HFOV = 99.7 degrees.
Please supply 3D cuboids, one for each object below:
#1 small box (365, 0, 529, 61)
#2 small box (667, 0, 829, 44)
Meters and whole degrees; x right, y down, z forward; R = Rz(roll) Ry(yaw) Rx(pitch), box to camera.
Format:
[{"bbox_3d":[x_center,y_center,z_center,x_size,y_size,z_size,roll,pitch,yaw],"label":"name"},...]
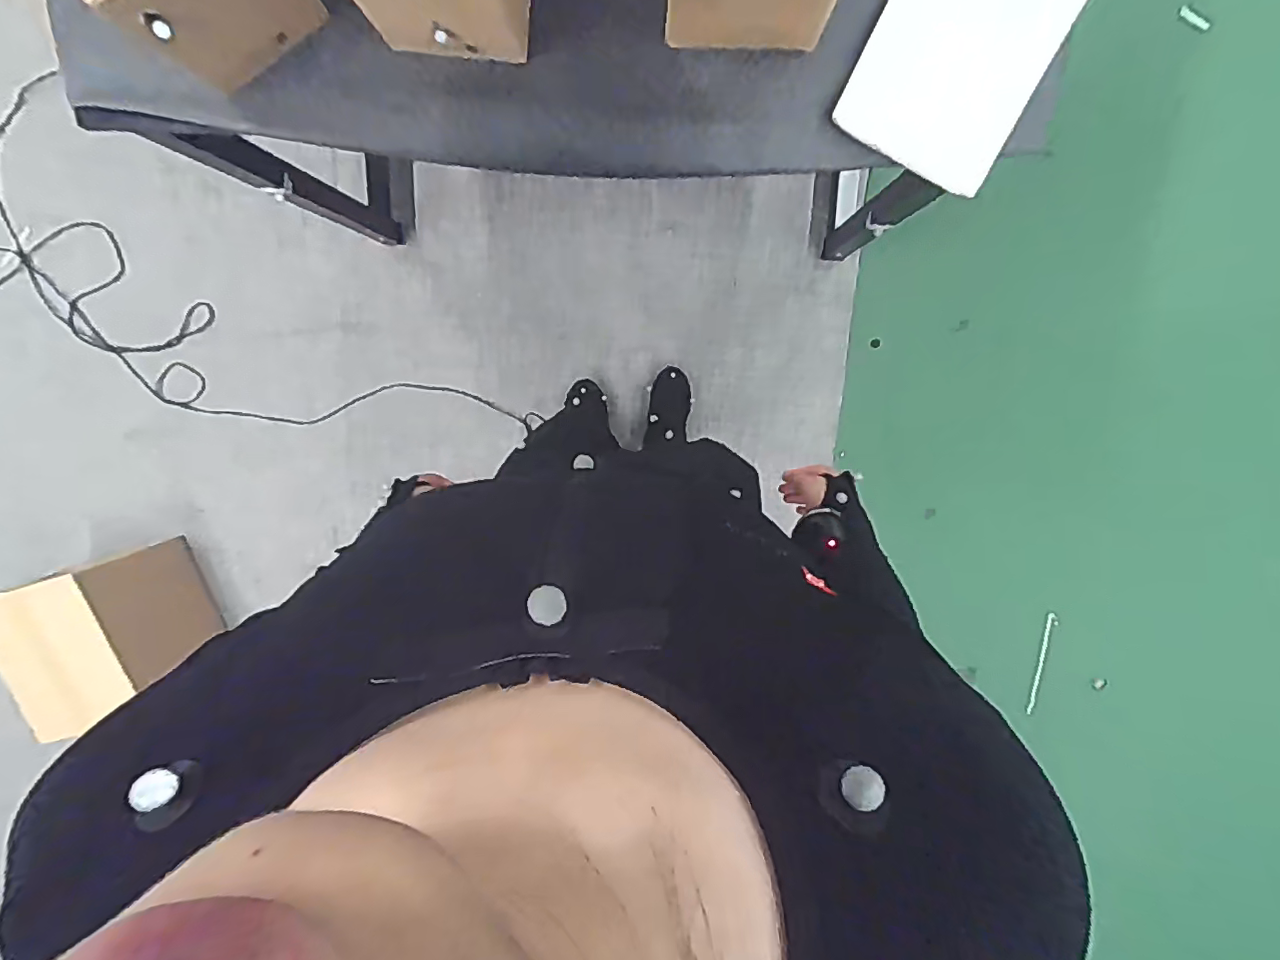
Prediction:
[{"bbox_3d":[-0.212,-0.582,0.555,0.168,0.176,0.179,7,101,2],"label":"small box"},{"bbox_3d":[0.119,-0.577,0.541,0.179,0.176,0.168,3,101,3],"label":"small box"}]
